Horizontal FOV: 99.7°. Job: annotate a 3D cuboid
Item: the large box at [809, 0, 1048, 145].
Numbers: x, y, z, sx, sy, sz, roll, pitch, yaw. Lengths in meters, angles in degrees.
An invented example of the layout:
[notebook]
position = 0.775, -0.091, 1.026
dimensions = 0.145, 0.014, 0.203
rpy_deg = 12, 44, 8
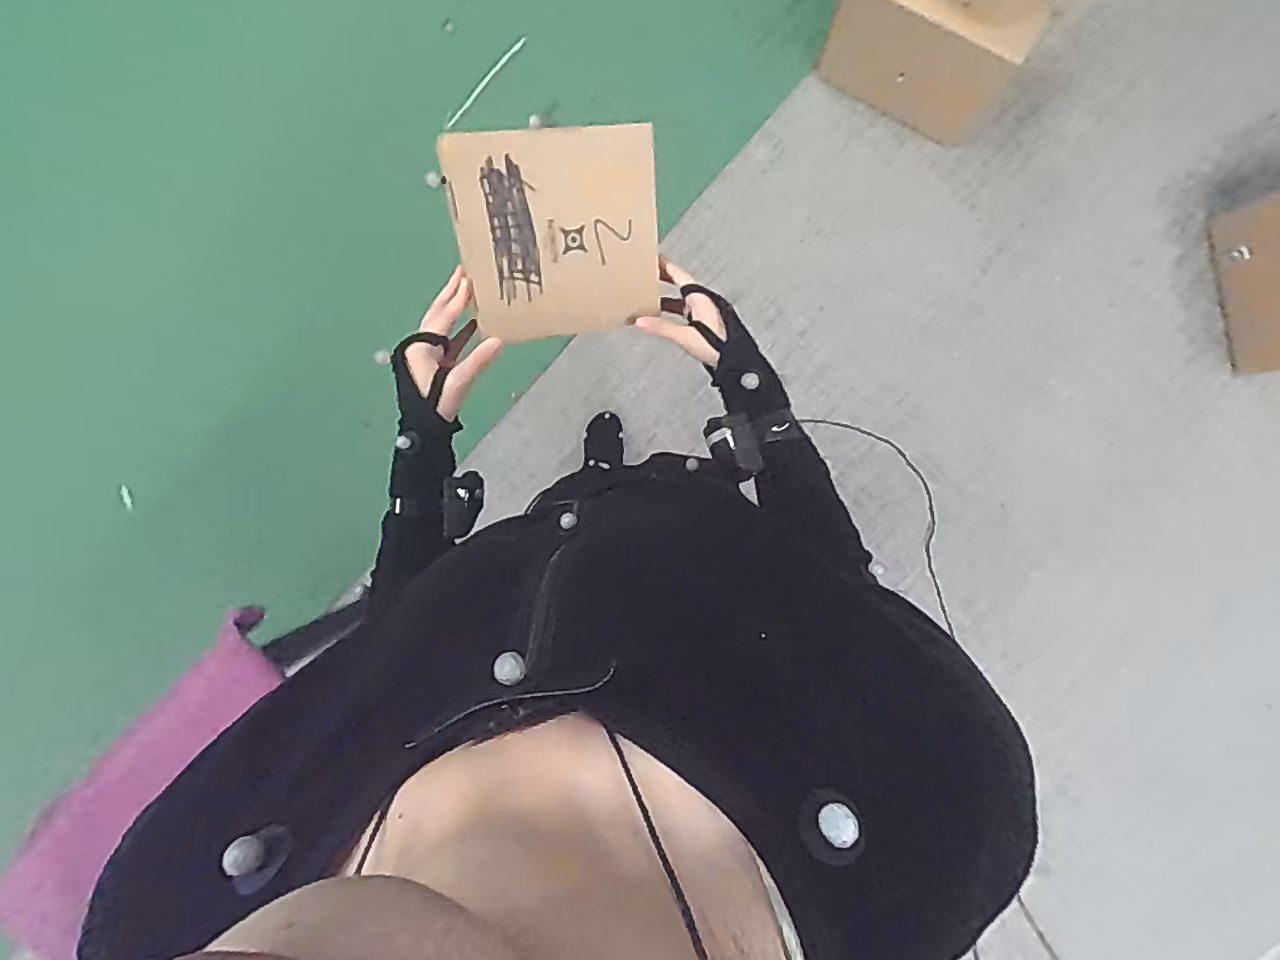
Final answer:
[large box]
position = 0.673, -1.081, 1.255
dimensions = 0.408, 0.320, 0.320
rpy_deg = 29, 94, 3
